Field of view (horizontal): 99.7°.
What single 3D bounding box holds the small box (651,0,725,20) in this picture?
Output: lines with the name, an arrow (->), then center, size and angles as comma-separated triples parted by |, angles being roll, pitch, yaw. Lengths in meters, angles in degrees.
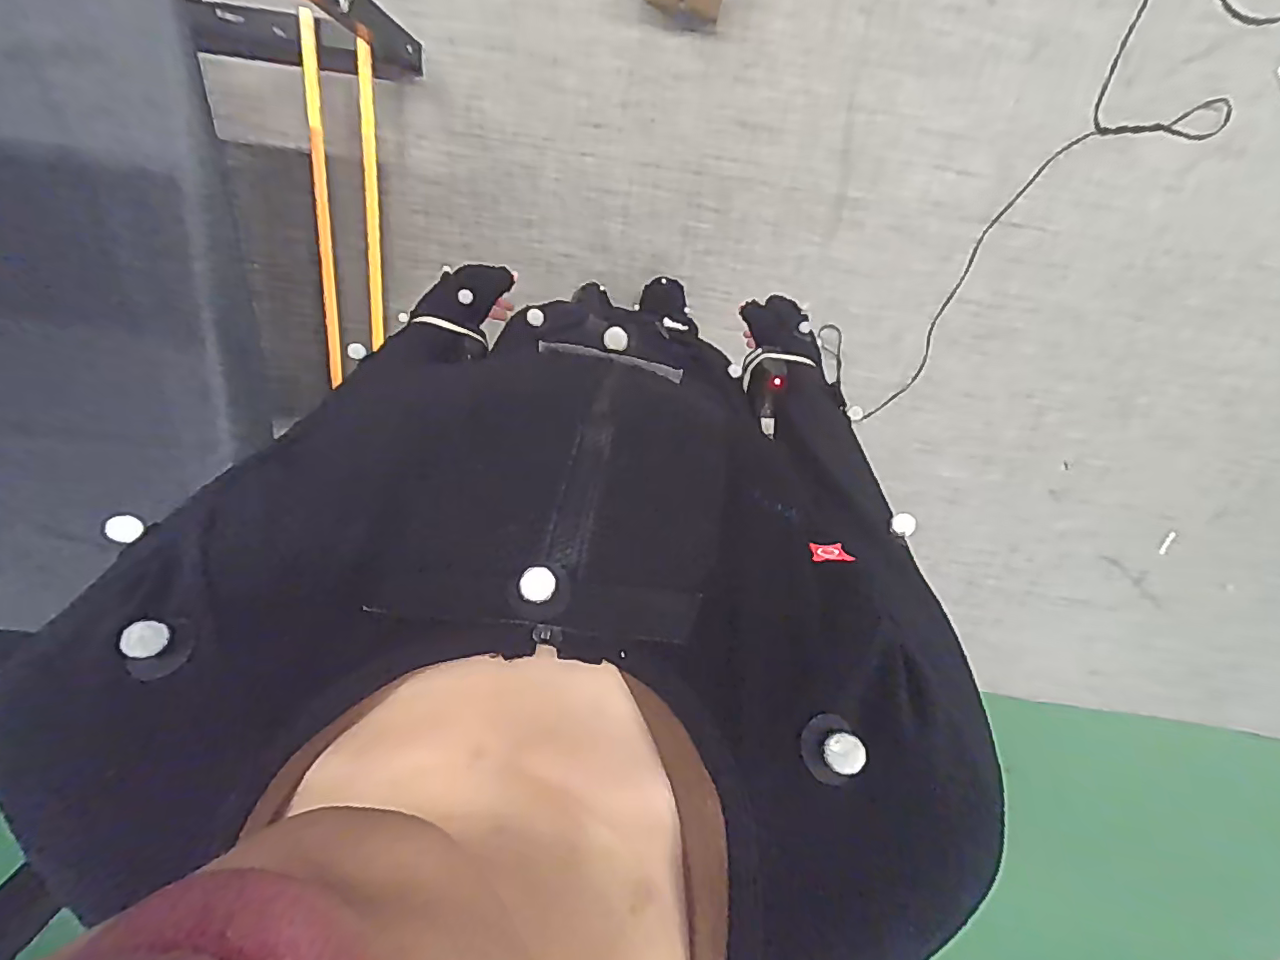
small box -> 0.106, -1.036, 1.032 | 0.168, 0.176, 0.179 | 14, 112, -2
